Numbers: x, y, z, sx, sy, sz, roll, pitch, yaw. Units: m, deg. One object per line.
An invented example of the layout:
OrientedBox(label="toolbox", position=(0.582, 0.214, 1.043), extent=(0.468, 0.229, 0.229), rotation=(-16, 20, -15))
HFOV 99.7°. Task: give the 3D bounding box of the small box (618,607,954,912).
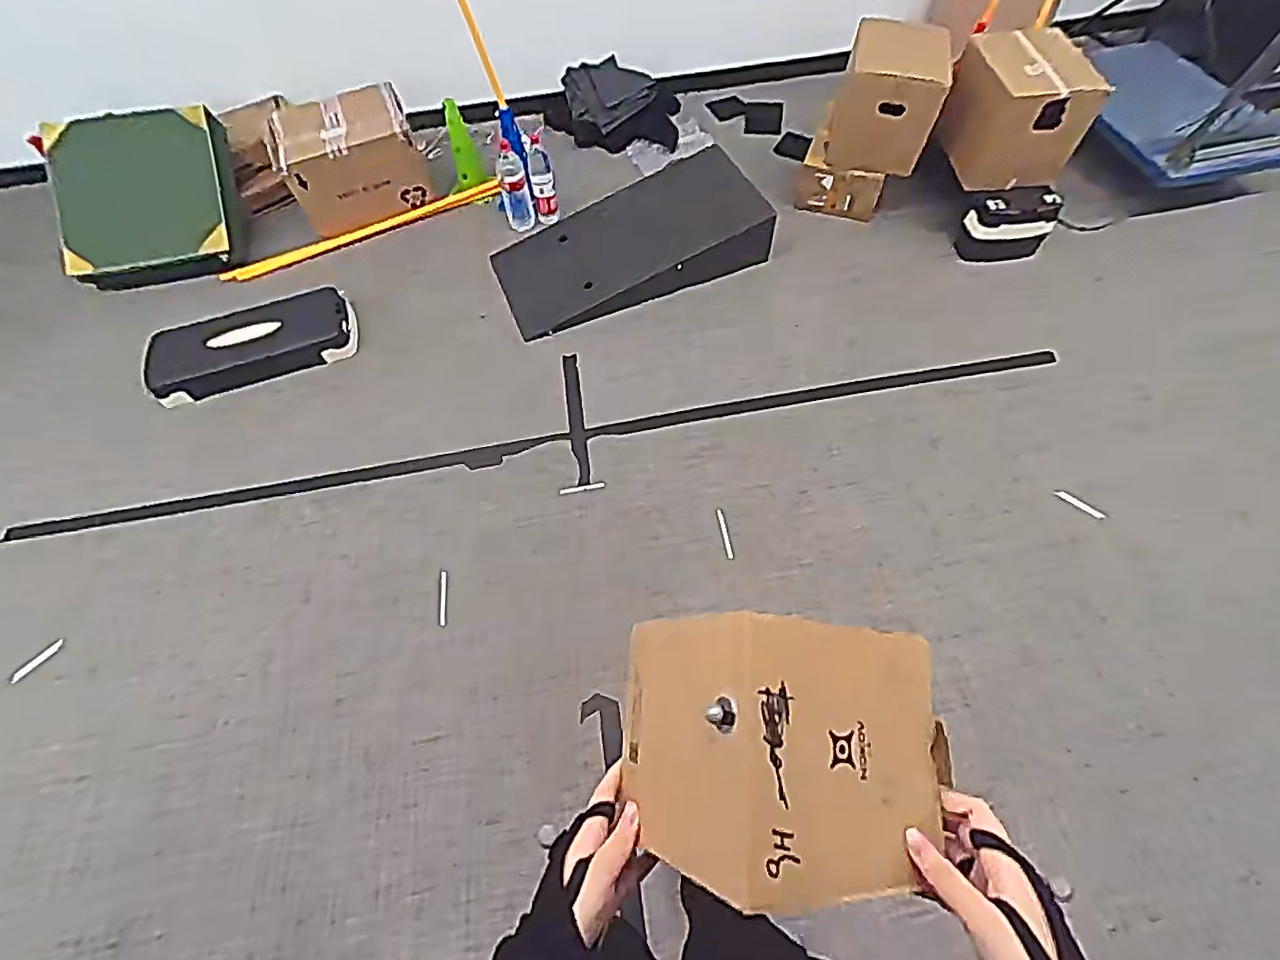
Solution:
OrientedBox(label="small box", position=(0.103, 0.198, 0.419), extent=(0.179, 0.176, 0.168), rotation=(15, 66, -25))
